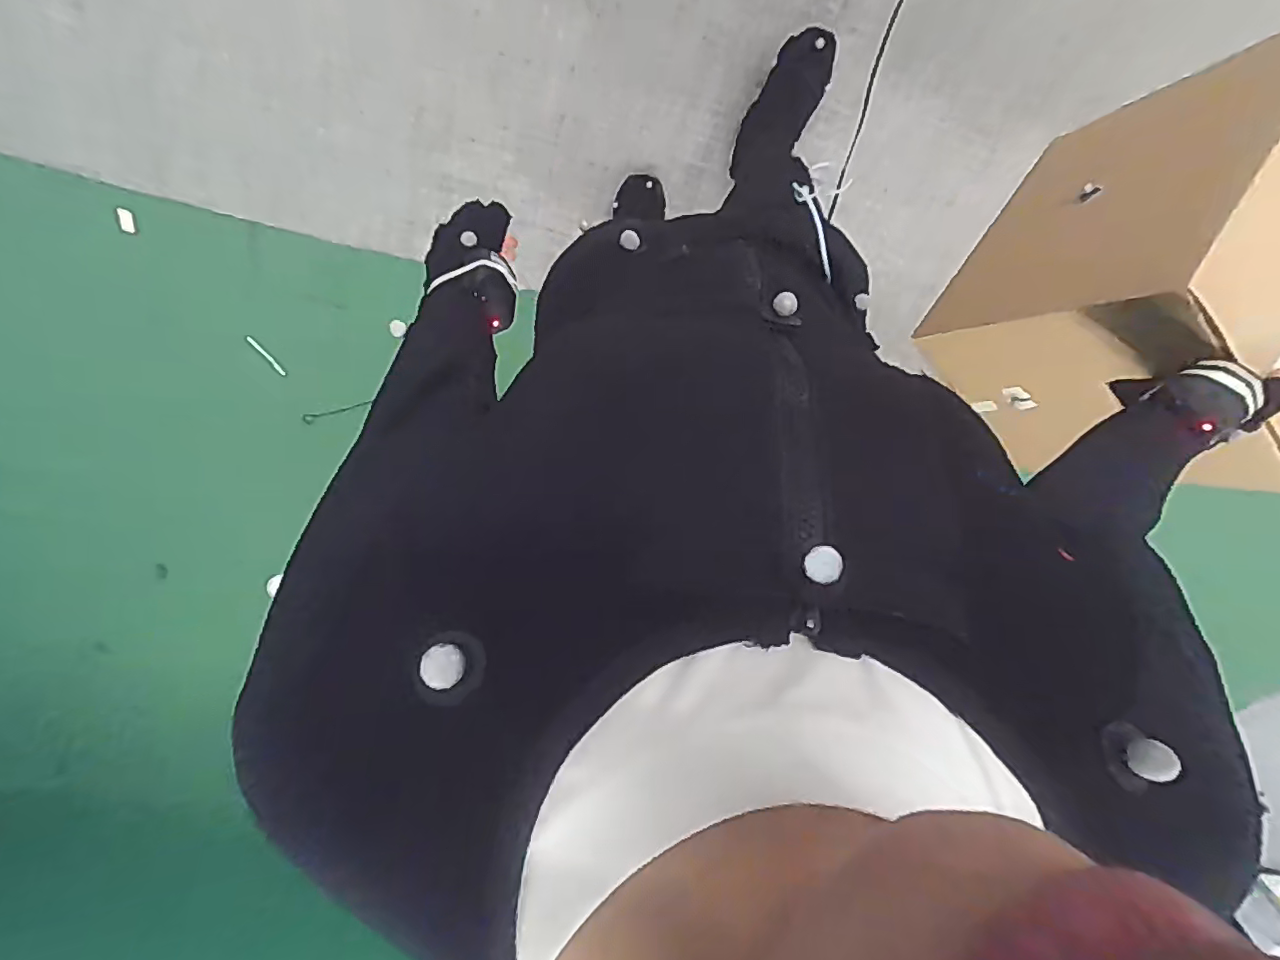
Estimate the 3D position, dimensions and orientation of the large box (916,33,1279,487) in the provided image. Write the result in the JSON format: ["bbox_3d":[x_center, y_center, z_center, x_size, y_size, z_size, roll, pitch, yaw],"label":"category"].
[{"bbox_3d":[0.659,-0.247,0.702,0.320,0.320,0.408,39,82,-19],"label":"large box"}]
